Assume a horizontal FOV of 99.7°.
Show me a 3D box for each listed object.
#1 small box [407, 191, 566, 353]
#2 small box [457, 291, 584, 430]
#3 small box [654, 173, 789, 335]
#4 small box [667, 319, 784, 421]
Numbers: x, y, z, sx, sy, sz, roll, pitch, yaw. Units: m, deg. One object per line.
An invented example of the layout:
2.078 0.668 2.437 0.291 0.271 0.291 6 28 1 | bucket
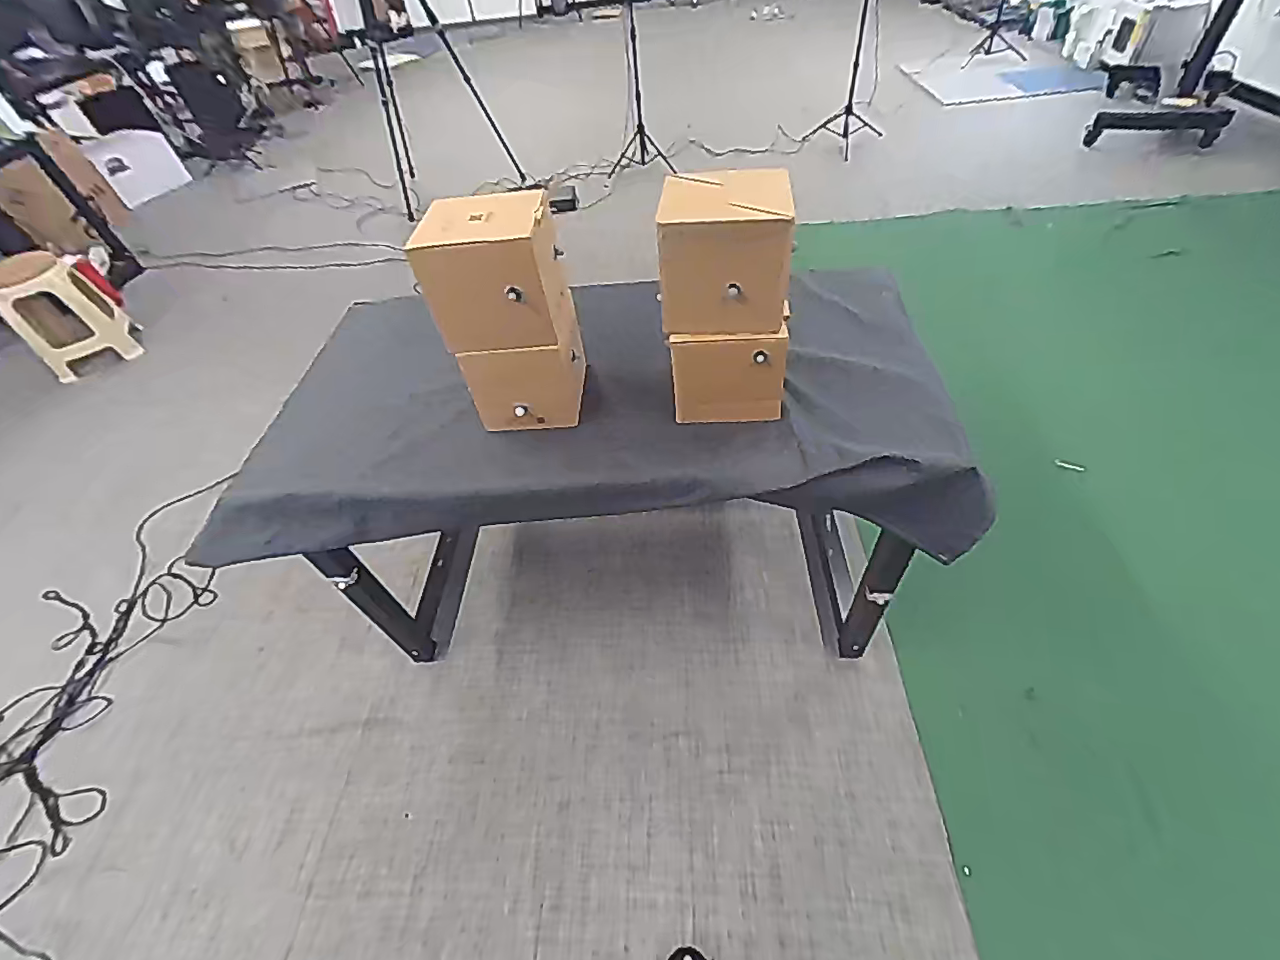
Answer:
-0.217 -0.313 0.826 0.179 0.176 0.168 -4 48 5 | small box
-0.195 -0.208 0.948 0.168 0.176 0.179 -3 49 5 | small box
0.121 -0.334 0.797 0.179 0.176 0.168 2 49 9 | small box
0.140 -0.212 0.912 0.179 0.176 0.168 -1 49 6 | small box
